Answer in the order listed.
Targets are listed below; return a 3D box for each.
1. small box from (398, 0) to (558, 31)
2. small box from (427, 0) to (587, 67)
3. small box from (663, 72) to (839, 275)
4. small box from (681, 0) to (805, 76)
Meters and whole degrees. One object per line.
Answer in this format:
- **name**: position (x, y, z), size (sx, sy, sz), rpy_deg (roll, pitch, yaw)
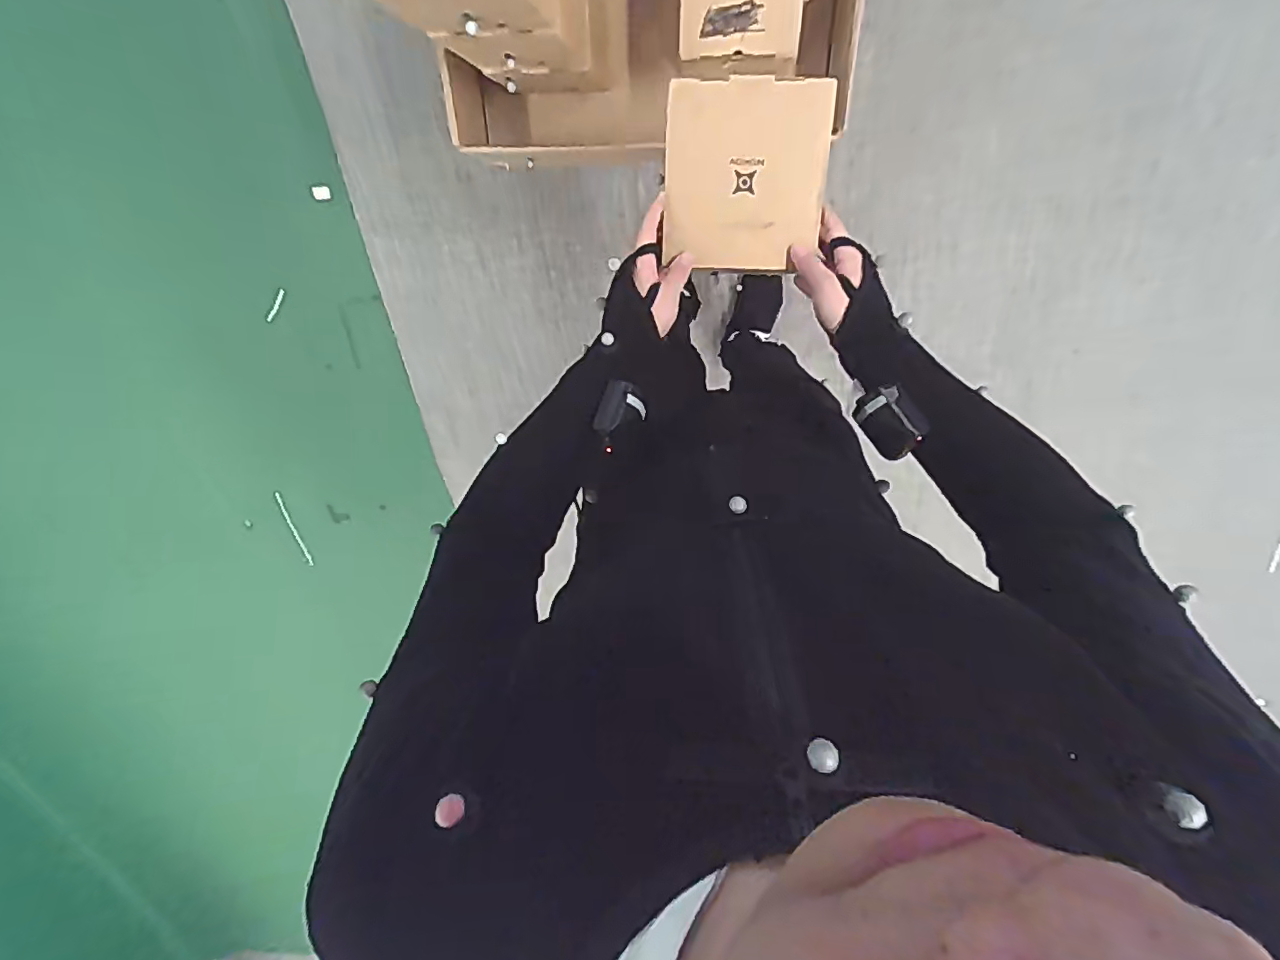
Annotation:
- **small box**: position (-0.180, -0.571, 0.523), size (0.168, 0.176, 0.179), rpy_deg (4, 118, 6)
- **small box**: position (-0.162, -0.642, 0.671), size (0.168, 0.176, 0.179), rpy_deg (3, 118, 5)
- **small box**: position (0.114, -0.338, 0.628), size (0.168, 0.176, 0.179), rpy_deg (3, 109, 3)
- **small box**: position (0.150, -0.701, 0.781), size (0.168, 0.176, 0.179), rpy_deg (3, 117, 6)
